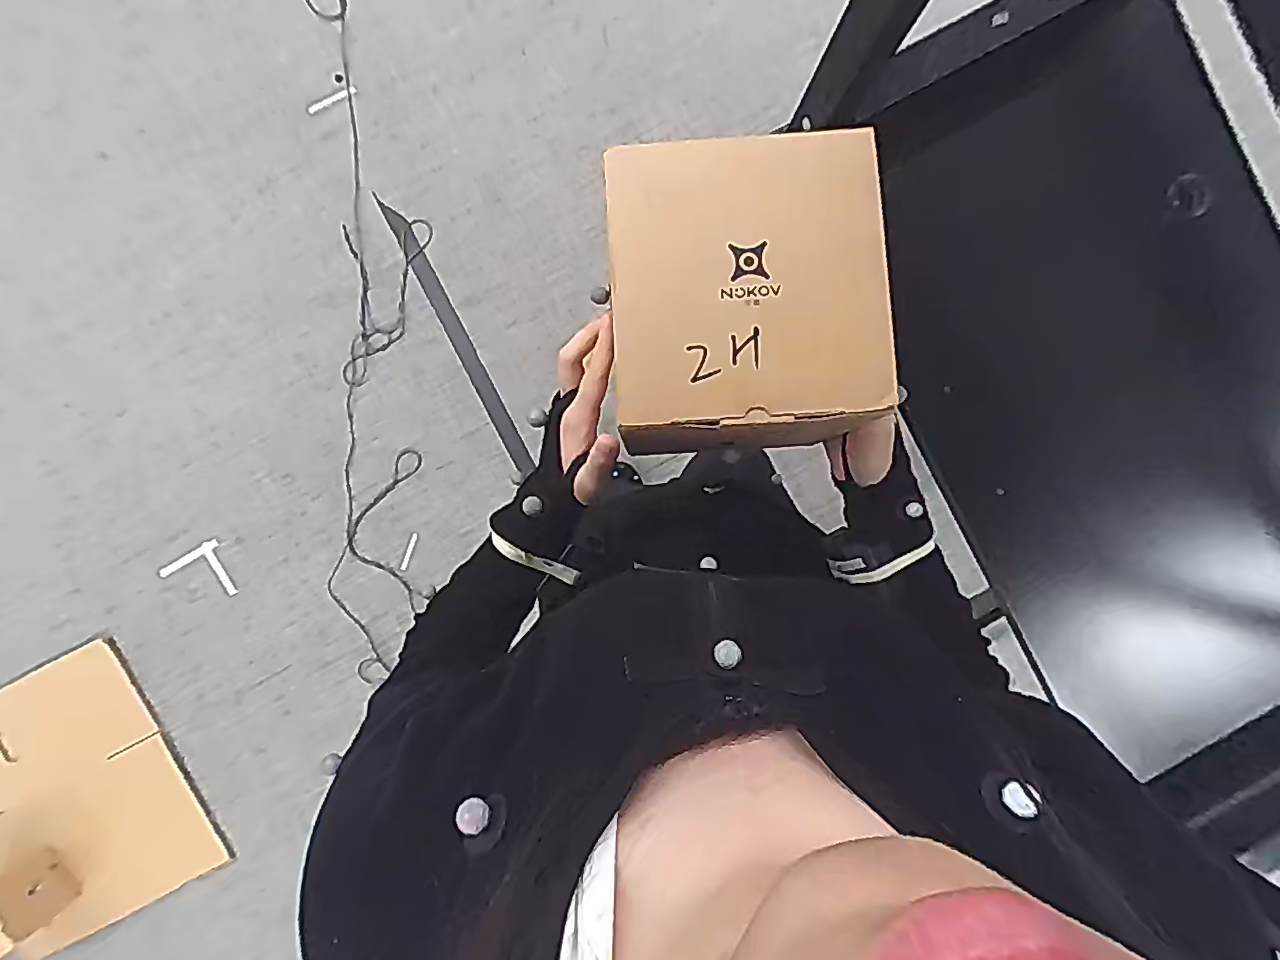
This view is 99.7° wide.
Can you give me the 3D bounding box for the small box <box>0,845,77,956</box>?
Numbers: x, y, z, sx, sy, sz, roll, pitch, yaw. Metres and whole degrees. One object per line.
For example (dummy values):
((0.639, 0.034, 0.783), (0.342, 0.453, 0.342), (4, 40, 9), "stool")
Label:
((-1.599, 1.081, 1.366), (0.179, 0.176, 0.168), (-35, 93, -1), "small box")
